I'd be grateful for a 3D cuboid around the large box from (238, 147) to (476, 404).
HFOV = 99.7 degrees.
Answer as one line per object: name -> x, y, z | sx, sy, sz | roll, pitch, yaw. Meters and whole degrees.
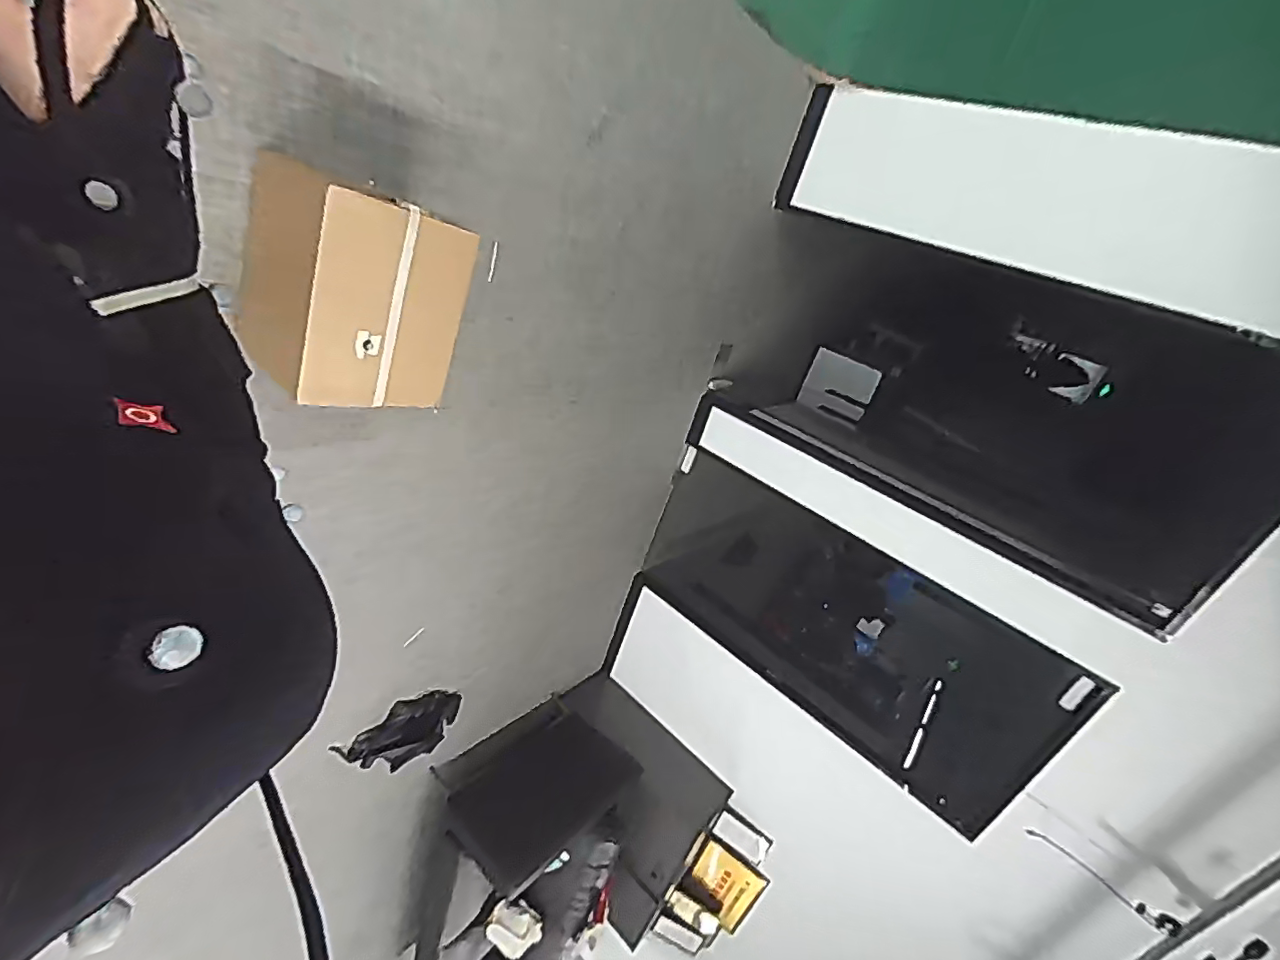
large box -> -0.609, -0.412, 1.154 | 0.320, 0.320, 0.408 | -8, 127, -54
